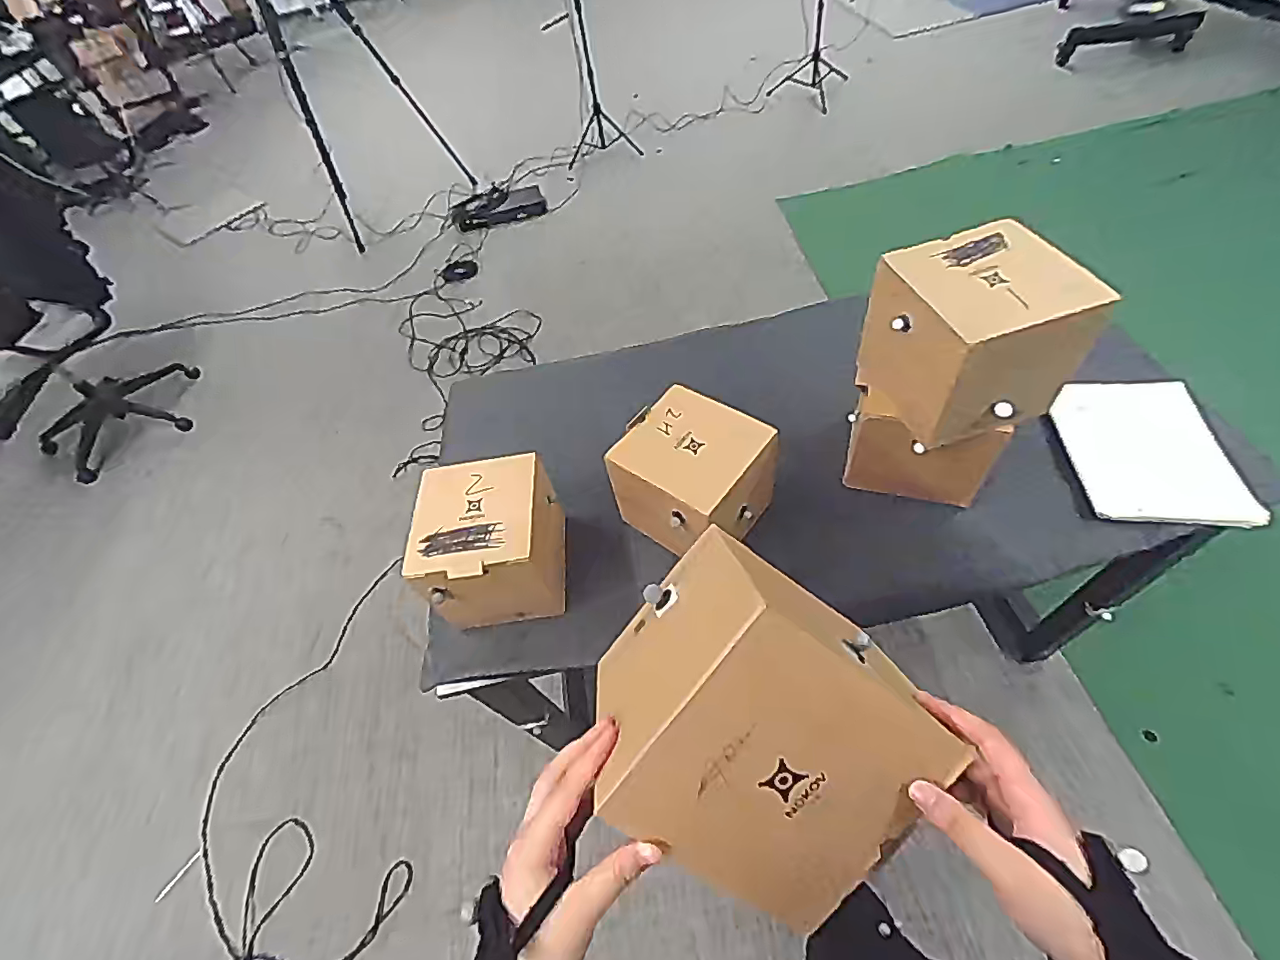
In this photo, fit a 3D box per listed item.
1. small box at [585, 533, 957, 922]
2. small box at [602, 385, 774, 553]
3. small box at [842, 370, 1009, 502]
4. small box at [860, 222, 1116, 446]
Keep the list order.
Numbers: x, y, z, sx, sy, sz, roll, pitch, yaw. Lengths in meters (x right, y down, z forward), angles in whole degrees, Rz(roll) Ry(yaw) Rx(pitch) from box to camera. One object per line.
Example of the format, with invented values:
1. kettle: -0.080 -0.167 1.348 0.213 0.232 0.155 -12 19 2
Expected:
1. small box: 0.077 0.162 0.408 0.179 0.176 0.168 35 96 -9
2. small box: 0.075 0.000 0.785 0.179 0.176 0.168 30 64 28
3. small box: 0.407 -0.086 0.789 0.179 0.176 0.168 11 57 19
4. small box: 0.388 -0.171 0.648 0.168 0.176 0.179 -17 53 -1
